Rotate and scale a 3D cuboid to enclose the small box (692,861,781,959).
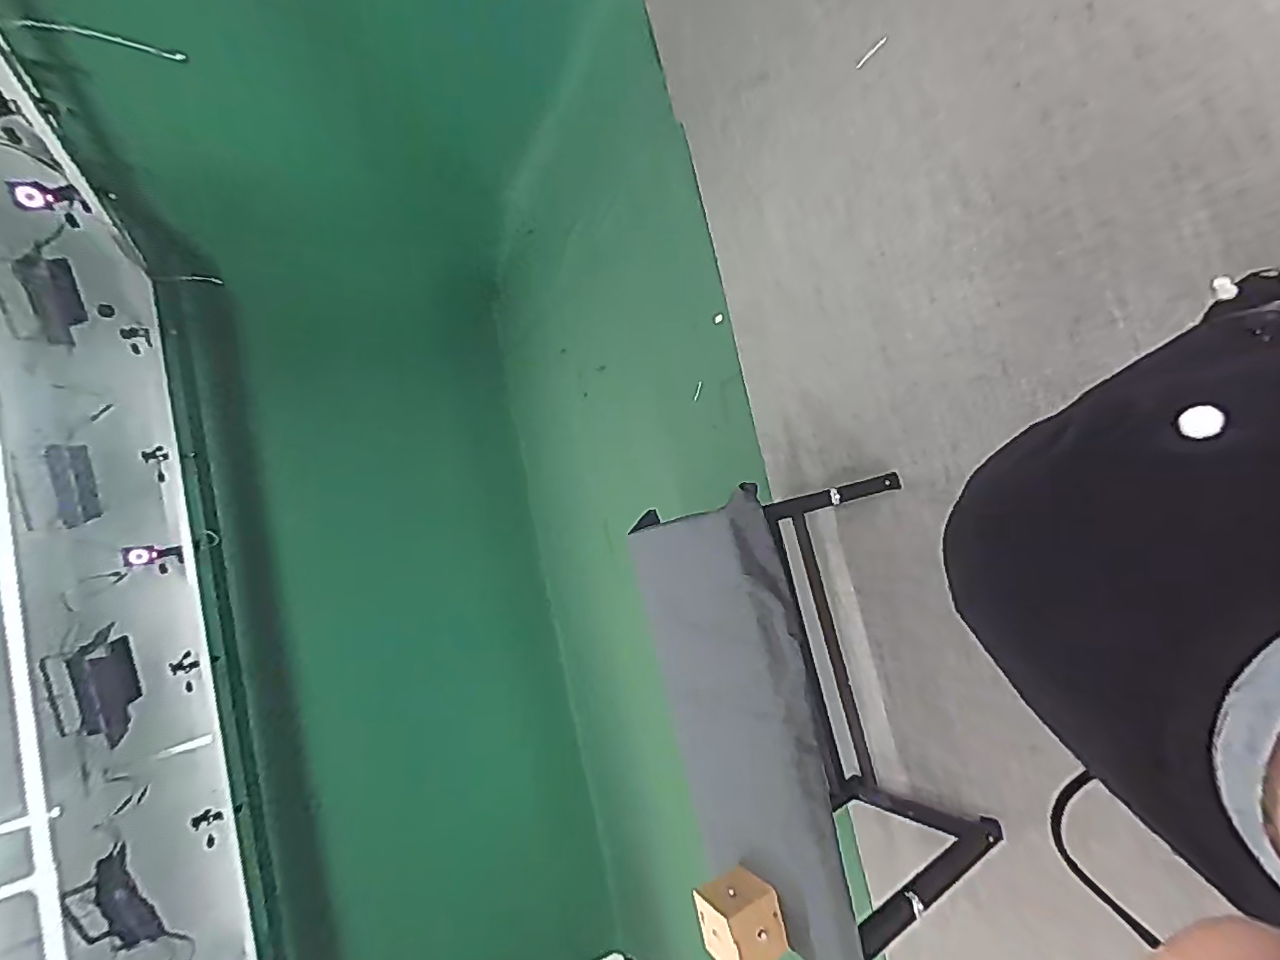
[{"bbox_3d":[0.278,1.230,1.533,0.179,0.176,0.168,-23,77,59],"label":"small box"}]
